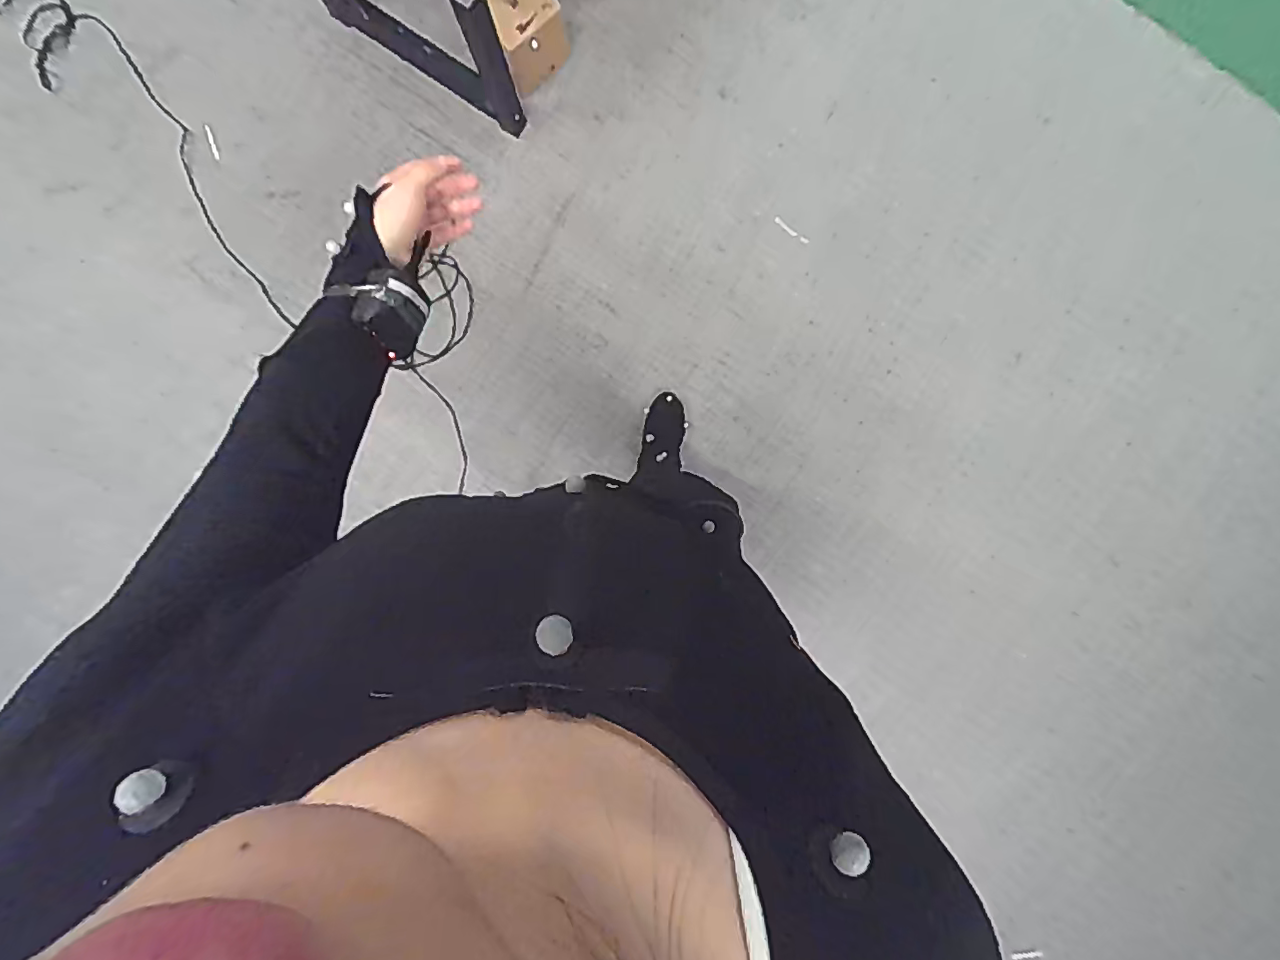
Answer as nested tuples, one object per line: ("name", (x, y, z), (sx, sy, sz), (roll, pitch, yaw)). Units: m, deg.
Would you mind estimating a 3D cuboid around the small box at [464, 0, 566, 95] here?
("small box", (-0.305, -1.118, 1.339), (0.168, 0.176, 0.179), (-39, 92, 1))
